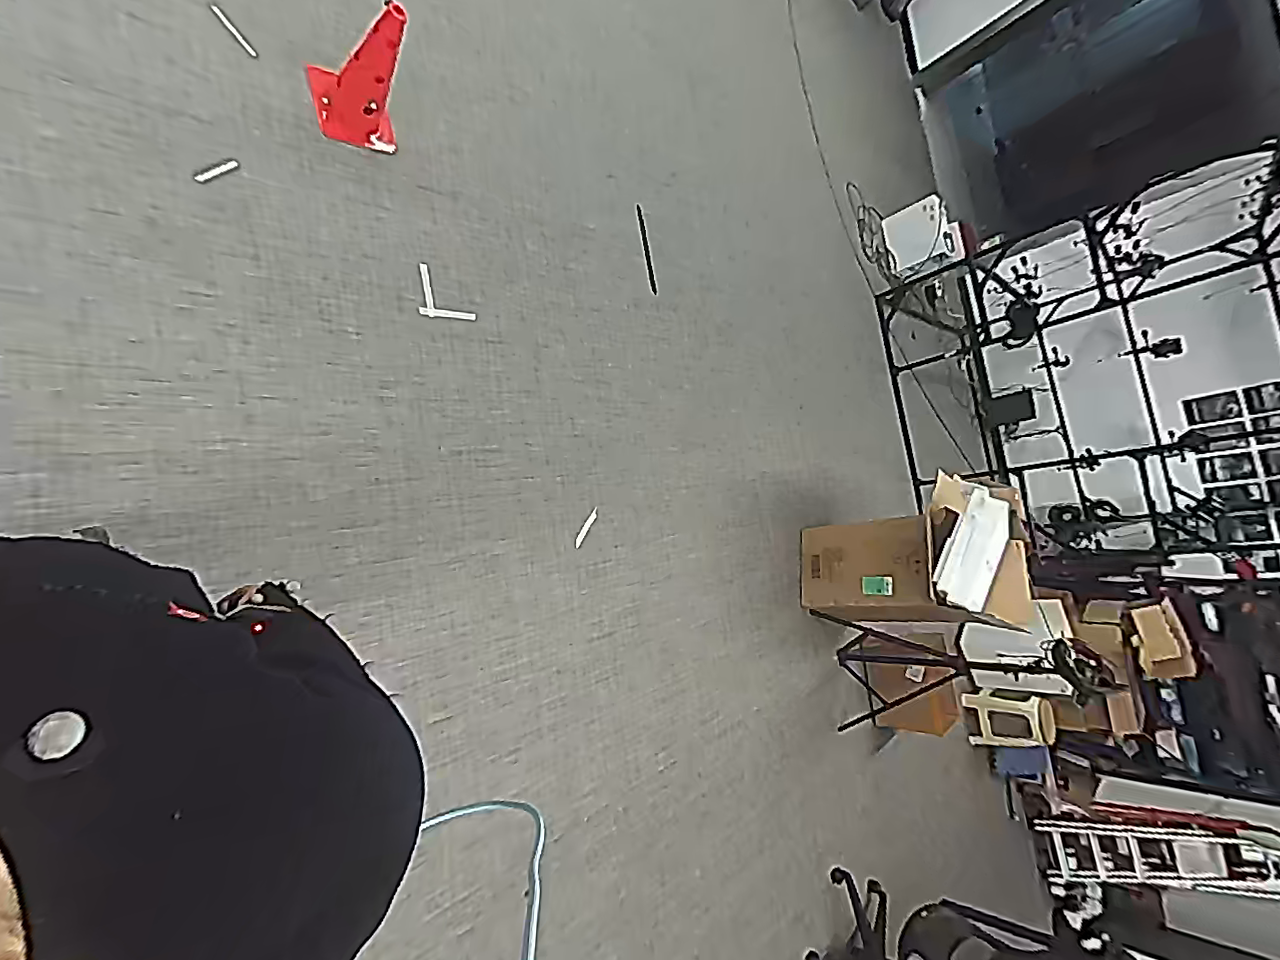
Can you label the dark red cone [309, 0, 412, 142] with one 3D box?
[{"bbox_3d":[-0.654,-1.050,1.336,0.201,0.394,0.202,-15,91,-44],"label":"dark red cone"}]
